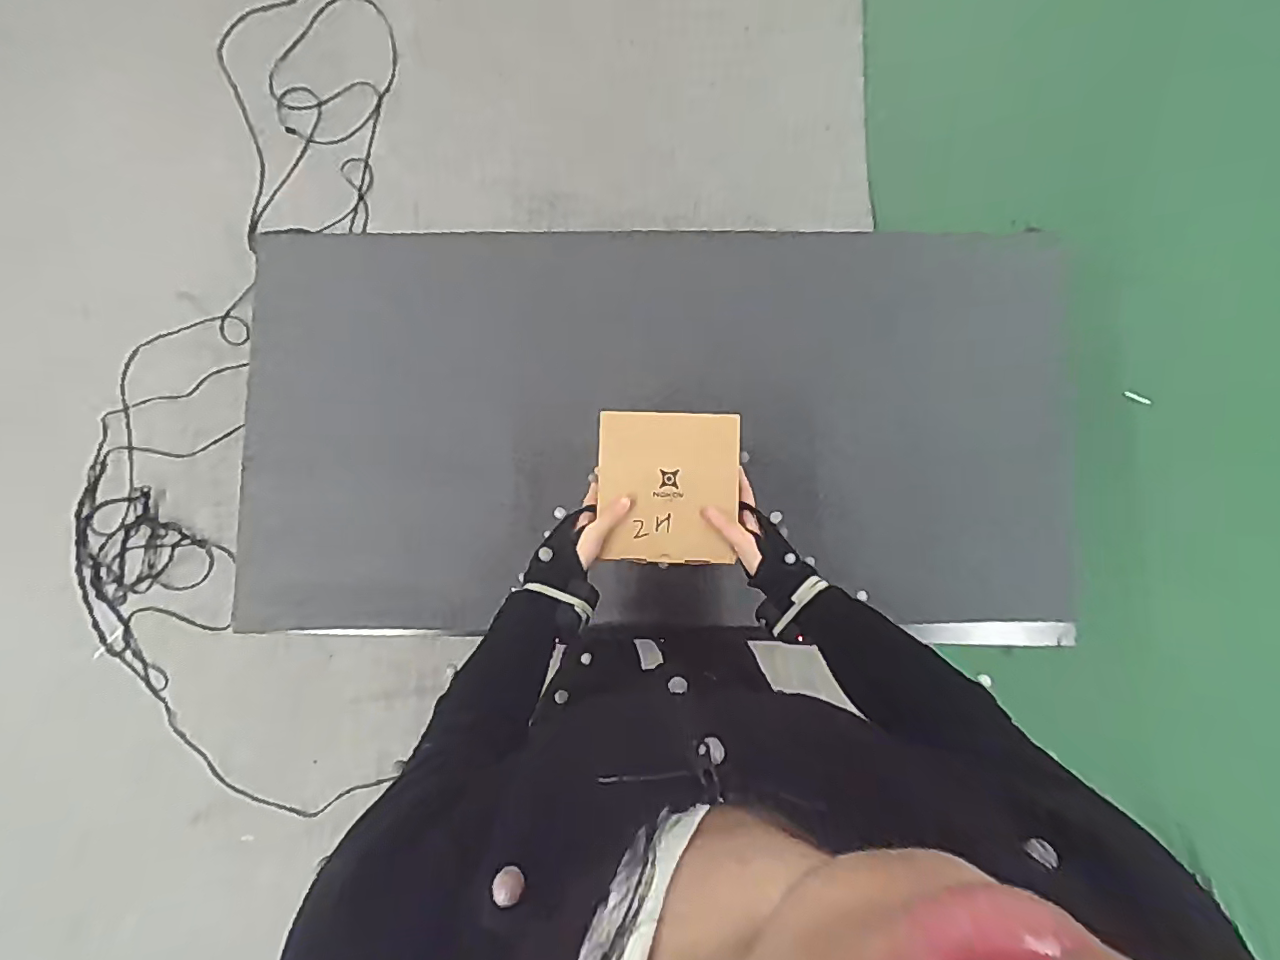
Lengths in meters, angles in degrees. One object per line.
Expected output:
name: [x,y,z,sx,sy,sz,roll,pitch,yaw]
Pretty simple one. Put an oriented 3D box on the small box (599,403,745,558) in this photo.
small box: [0.039,0.007,0.698,0.168,0.176,0.179,1,85,2]
